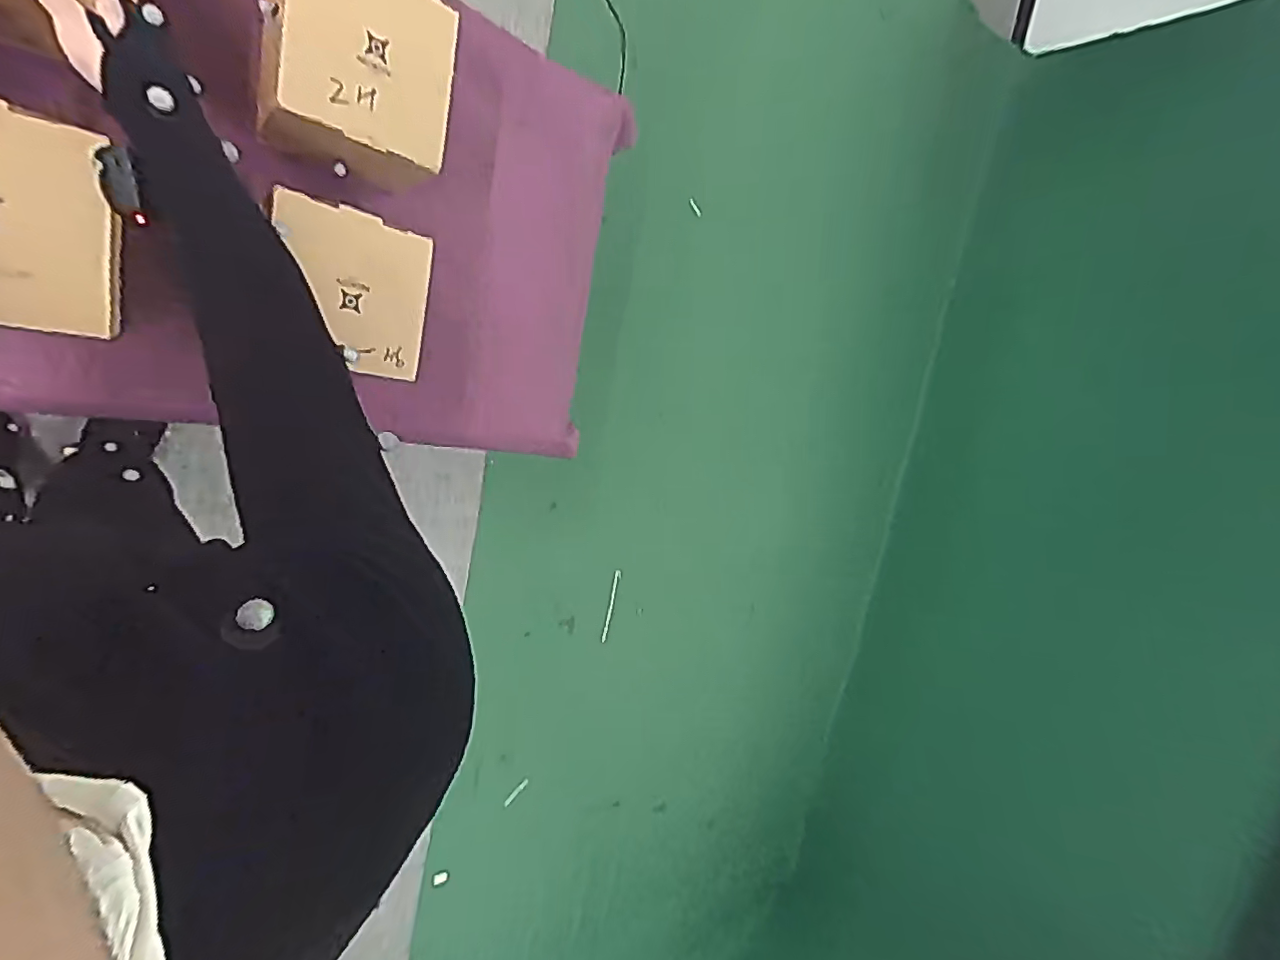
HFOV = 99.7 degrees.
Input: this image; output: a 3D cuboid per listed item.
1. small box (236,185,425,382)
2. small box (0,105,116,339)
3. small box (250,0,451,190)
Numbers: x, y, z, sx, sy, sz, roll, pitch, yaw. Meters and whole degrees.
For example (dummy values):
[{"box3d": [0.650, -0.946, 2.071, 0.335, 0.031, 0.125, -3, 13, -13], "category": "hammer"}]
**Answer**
[{"box3d": [-0.387, -0.228, 0.669, 0.168, 0.176, 0.179, 4, 100, -42], "category": "small box"}, {"box3d": [-0.595, -0.235, 0.487, 0.168, 0.176, 0.179, 3, 103, -41], "category": "small box"}, {"box3d": [-0.341, -0.469, 0.629, 0.168, 0.176, 0.179, 4, 102, -42], "category": "small box"}]
